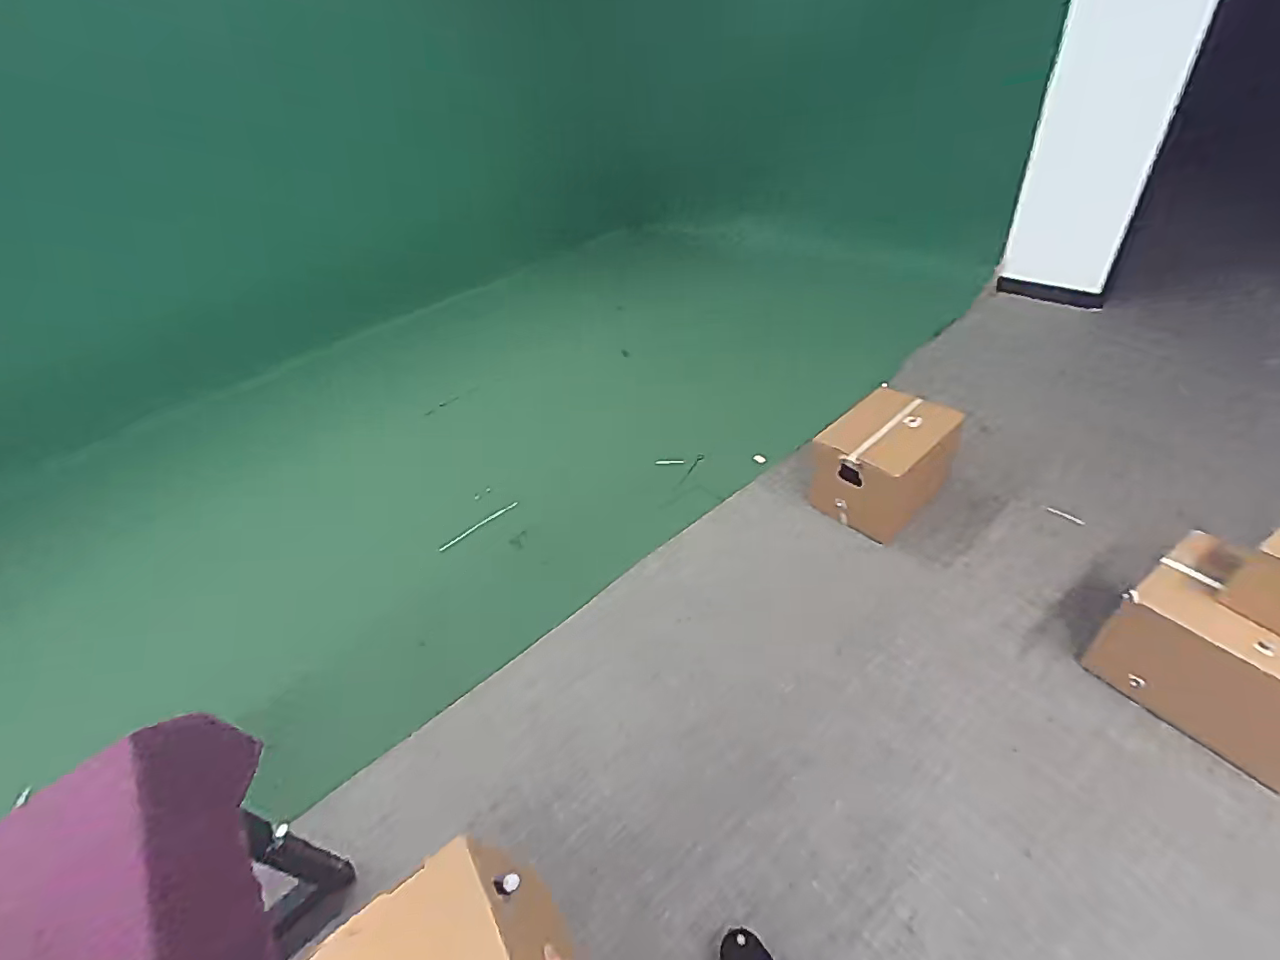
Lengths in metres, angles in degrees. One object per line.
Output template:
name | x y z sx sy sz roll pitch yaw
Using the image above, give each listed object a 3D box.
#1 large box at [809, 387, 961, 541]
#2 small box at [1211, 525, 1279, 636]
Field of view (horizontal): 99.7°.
large box | 0.842 -0.063 1.895 0.408 0.320 0.320 -34 45 -24
small box | 1.347 0.209 1.097 0.168 0.176 0.179 -25 43 -18
